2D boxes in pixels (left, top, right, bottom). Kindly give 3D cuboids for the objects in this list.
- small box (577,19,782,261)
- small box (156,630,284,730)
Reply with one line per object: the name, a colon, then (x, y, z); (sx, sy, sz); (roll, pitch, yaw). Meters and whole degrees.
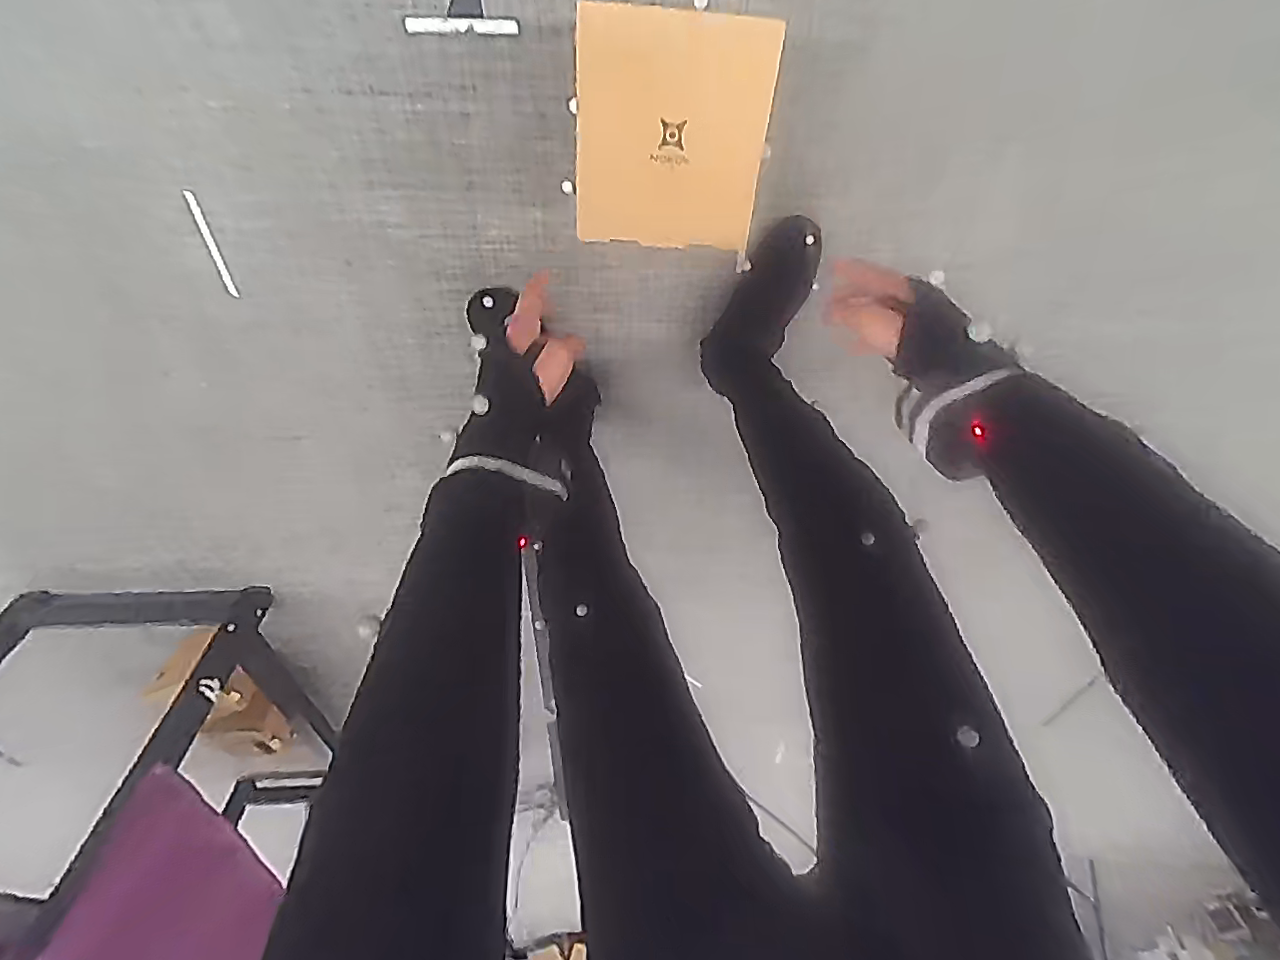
small box: (0.022, -0.335, 0.532); (0.168, 0.176, 0.179); (0, 131, -5)
small box: (-1.086, 0.521, 1.416); (0.179, 0.176, 0.168); (-23, 128, 16)
